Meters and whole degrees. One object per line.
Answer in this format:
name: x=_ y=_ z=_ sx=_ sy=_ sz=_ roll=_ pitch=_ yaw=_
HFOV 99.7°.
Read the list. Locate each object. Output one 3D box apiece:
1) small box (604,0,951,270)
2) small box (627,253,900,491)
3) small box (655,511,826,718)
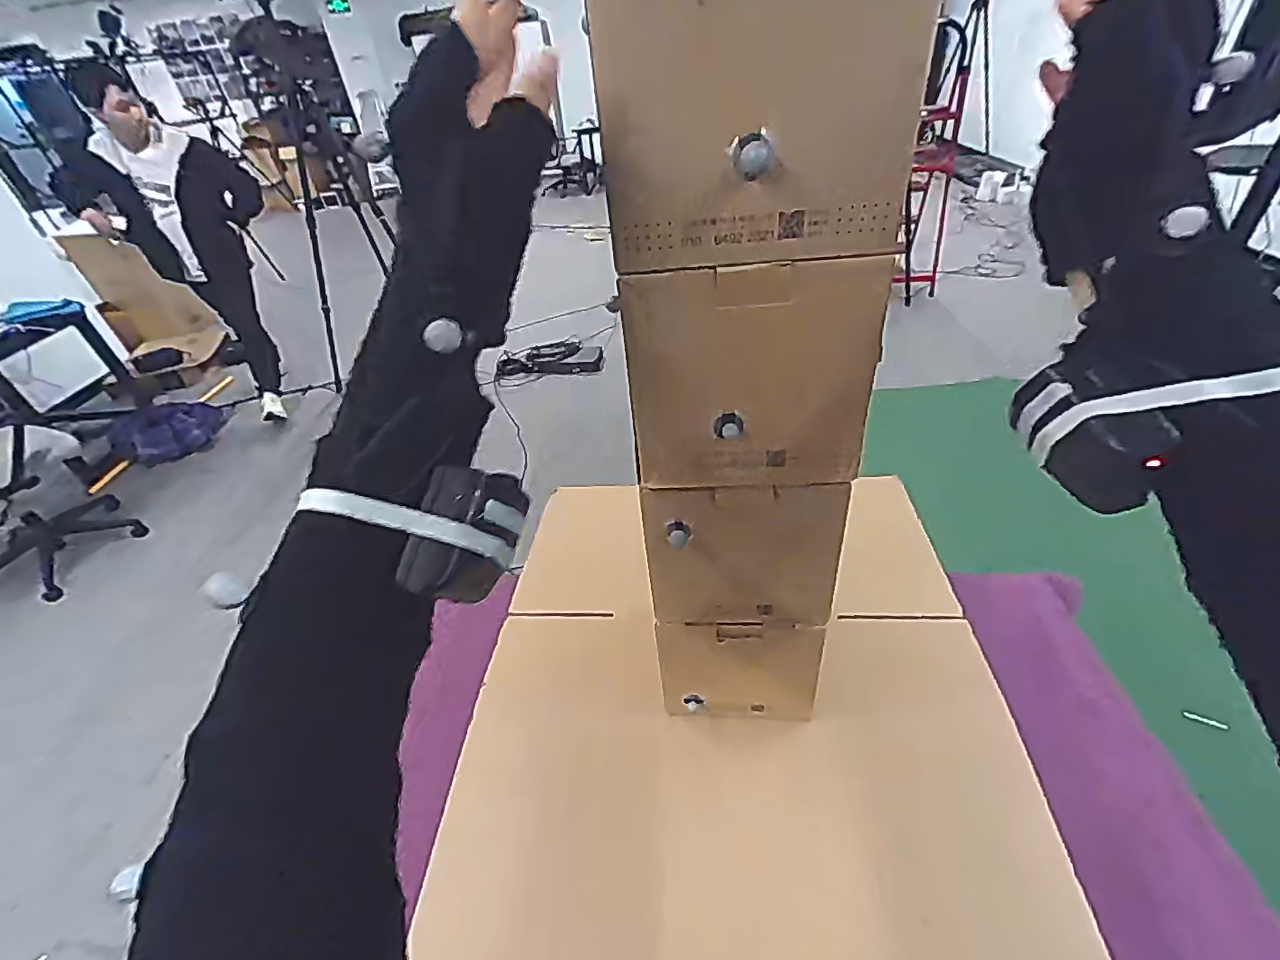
small box: x=0.070 y=-0.241 z=0.342 sx=0.168 sy=0.176 sz=0.179 roll=-2 pitch=37 yaw=6
small box: x=0.083 y=-0.108 z=0.438 sx=0.168 sy=0.176 sz=0.179 roll=-2 pitch=36 yaw=5
small box: x=0.108 y=0.158 z=0.628 sx=0.168 sy=0.176 sz=0.179 roll=-3 pitch=38 yaw=5
